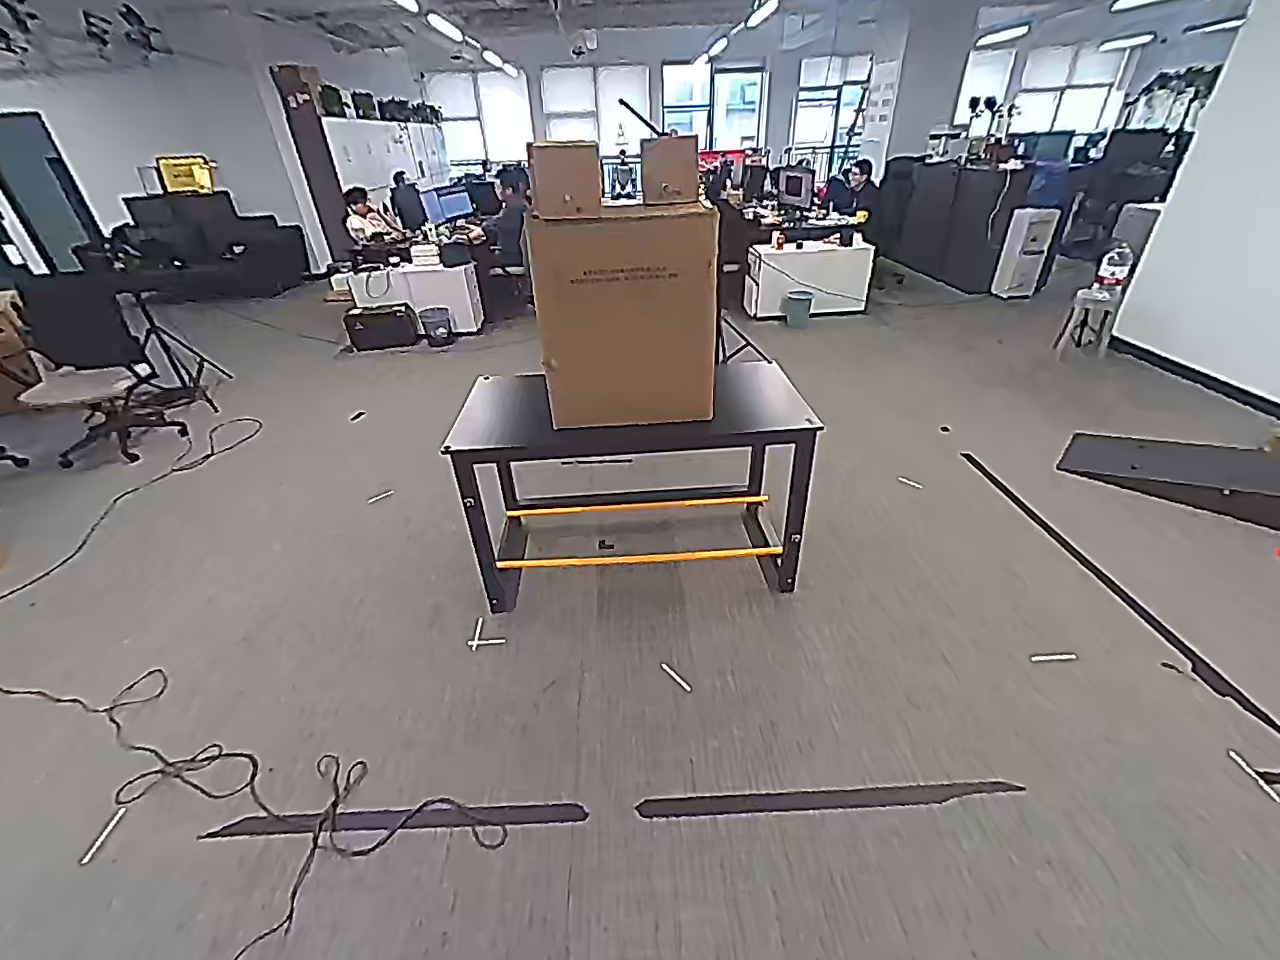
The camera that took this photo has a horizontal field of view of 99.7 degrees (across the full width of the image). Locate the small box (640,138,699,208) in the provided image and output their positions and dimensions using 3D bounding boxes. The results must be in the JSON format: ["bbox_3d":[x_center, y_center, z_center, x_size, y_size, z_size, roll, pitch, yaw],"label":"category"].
[{"bbox_3d":[0.086,-0.908,1.602,0.168,0.176,0.179,-4,32,2],"label":"small box"}]
